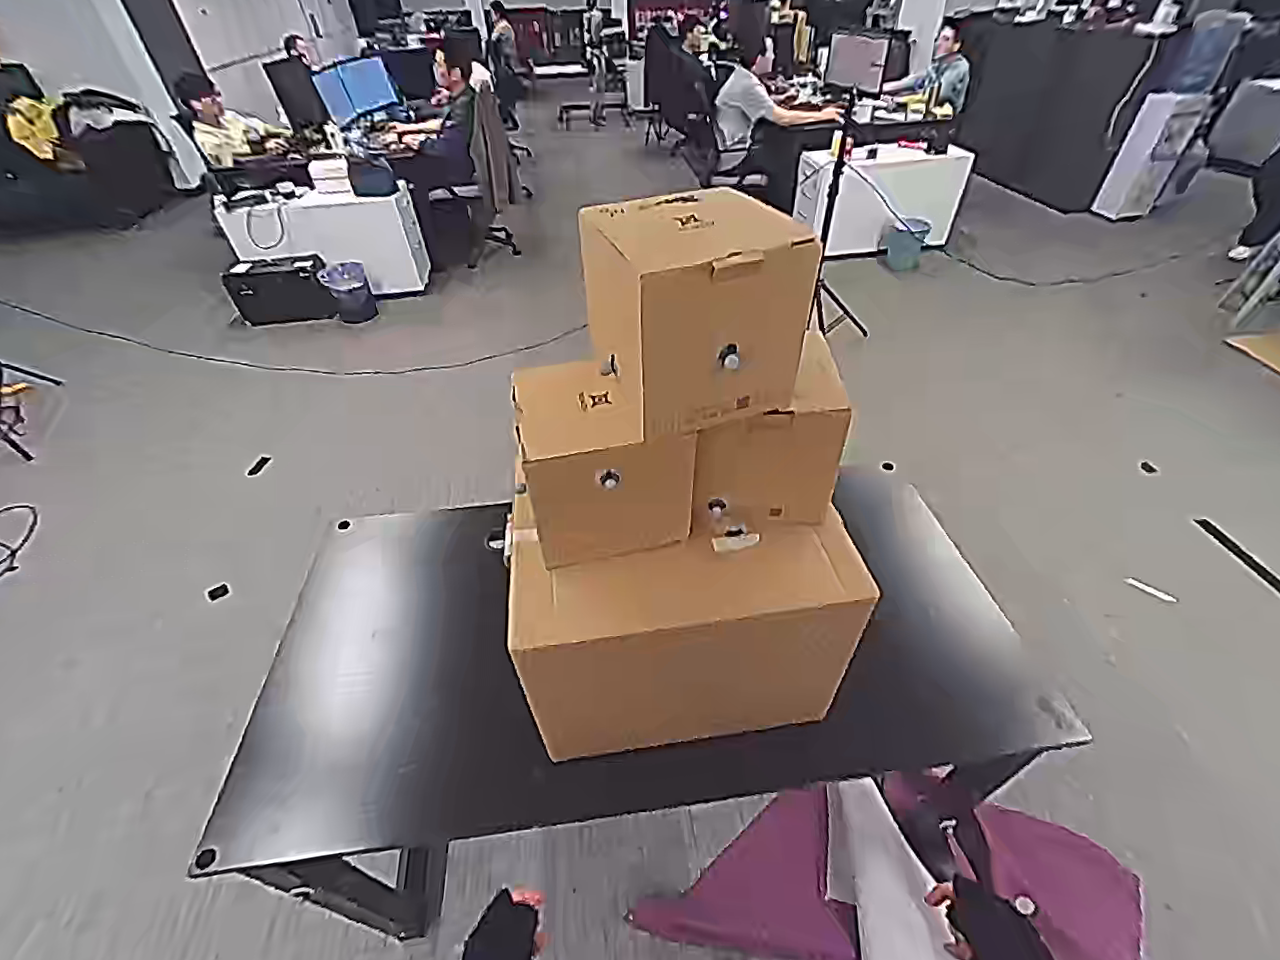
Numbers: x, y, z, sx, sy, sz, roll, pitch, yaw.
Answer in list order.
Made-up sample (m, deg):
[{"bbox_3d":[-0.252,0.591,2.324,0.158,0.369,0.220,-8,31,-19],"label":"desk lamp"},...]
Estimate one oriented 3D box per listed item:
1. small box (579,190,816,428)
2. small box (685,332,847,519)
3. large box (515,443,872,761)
[{"bbox_3d":[0.048,-0.169,0.547,0.168,0.176,0.179,-16,45,-14],"label":"small box"},{"bbox_3d":[0.141,-0.066,0.671,0.168,0.176,0.179,0,41,4],"label":"small box"},{"bbox_3d":[0.044,0.162,0.788,0.408,0.320,0.320,-7,43,-6],"label":"large box"}]
